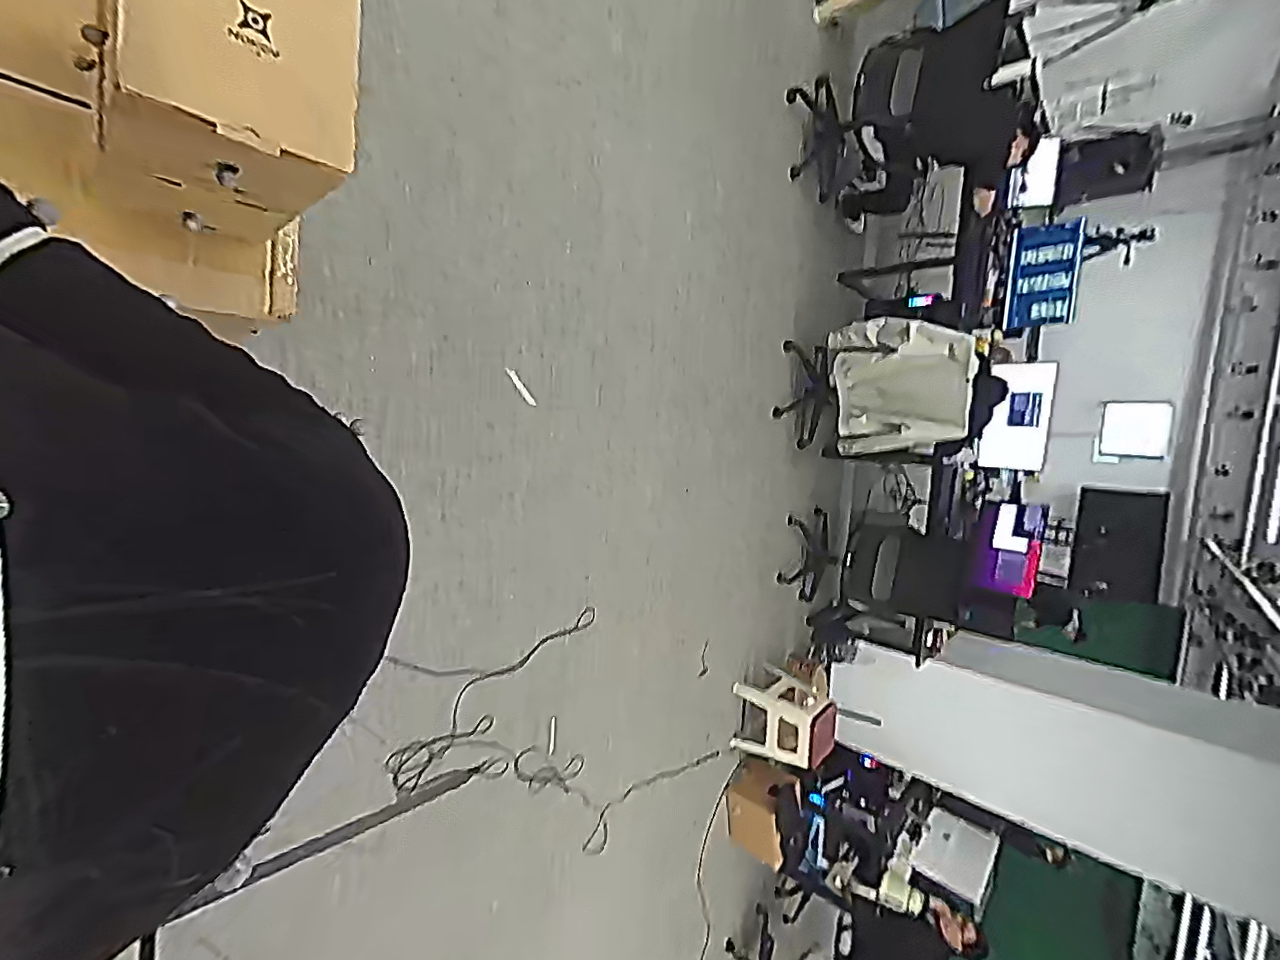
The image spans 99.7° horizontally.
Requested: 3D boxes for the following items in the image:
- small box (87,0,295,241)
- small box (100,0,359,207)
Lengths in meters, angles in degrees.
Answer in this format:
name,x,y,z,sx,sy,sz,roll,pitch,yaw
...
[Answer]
name,x,y,z,sx,sy,sz,roll,pitch,yaw
small box,-0.509,-0.398,0.616,0.168,0.176,0.179,-1,97,-47
small box,-0.386,-0.385,0.508,0.168,0.176,0.179,1,96,-47
